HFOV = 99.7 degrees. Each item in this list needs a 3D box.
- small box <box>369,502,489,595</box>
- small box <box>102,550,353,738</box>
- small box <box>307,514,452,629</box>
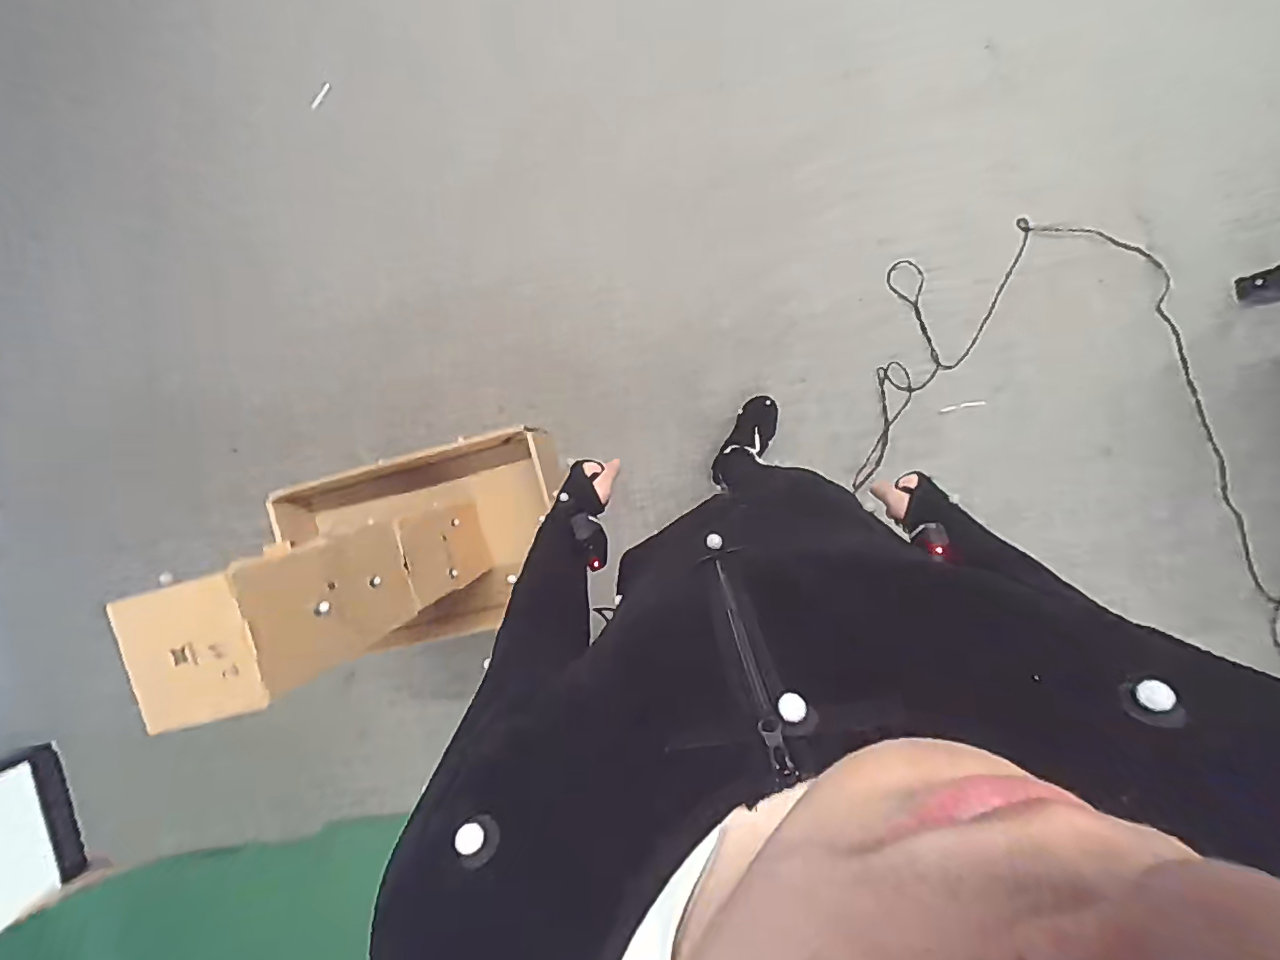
[{"bbox_3d":[-0.455,0.157,1.191,0.168,0.176,0.179,-15,92,8],"label":"small box"},{"bbox_3d":[-0.520,0.201,0.704,0.179,0.176,0.168,-15,93,8],"label":"small box"},{"bbox_3d":[-0.480,0.168,1.029,0.179,0.176,0.168,-14,92,9],"label":"small box"}]
